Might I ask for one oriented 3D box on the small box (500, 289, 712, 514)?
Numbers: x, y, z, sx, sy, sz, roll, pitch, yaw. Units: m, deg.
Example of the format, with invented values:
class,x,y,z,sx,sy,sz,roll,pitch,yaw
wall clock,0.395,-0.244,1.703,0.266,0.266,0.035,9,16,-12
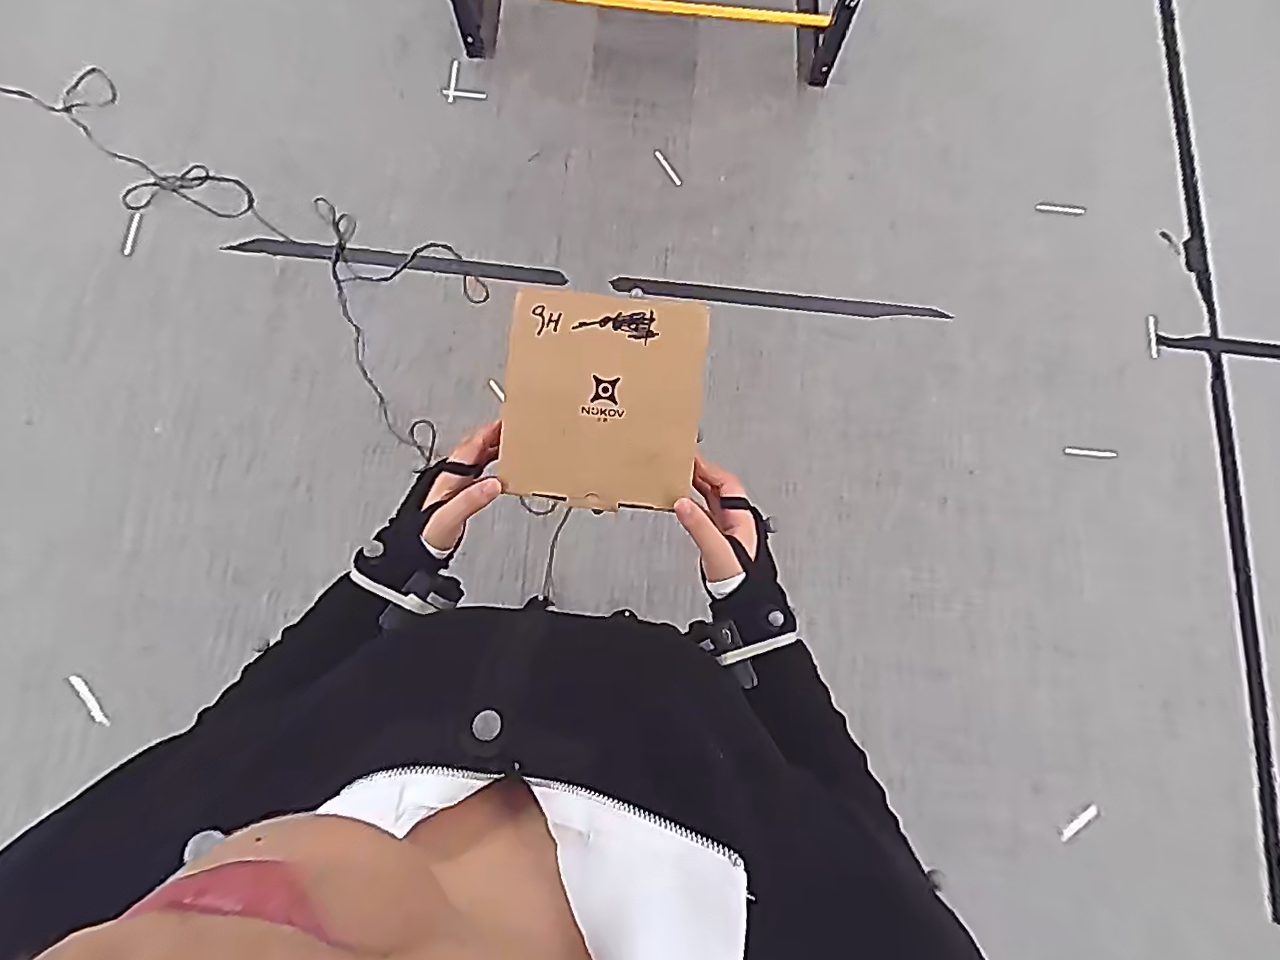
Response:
class,x,y,z,sx,sy,sz,roll,pitch,yaw
small box,-0.029,-0.069,0.534,0.168,0.176,0.179,6,92,0
